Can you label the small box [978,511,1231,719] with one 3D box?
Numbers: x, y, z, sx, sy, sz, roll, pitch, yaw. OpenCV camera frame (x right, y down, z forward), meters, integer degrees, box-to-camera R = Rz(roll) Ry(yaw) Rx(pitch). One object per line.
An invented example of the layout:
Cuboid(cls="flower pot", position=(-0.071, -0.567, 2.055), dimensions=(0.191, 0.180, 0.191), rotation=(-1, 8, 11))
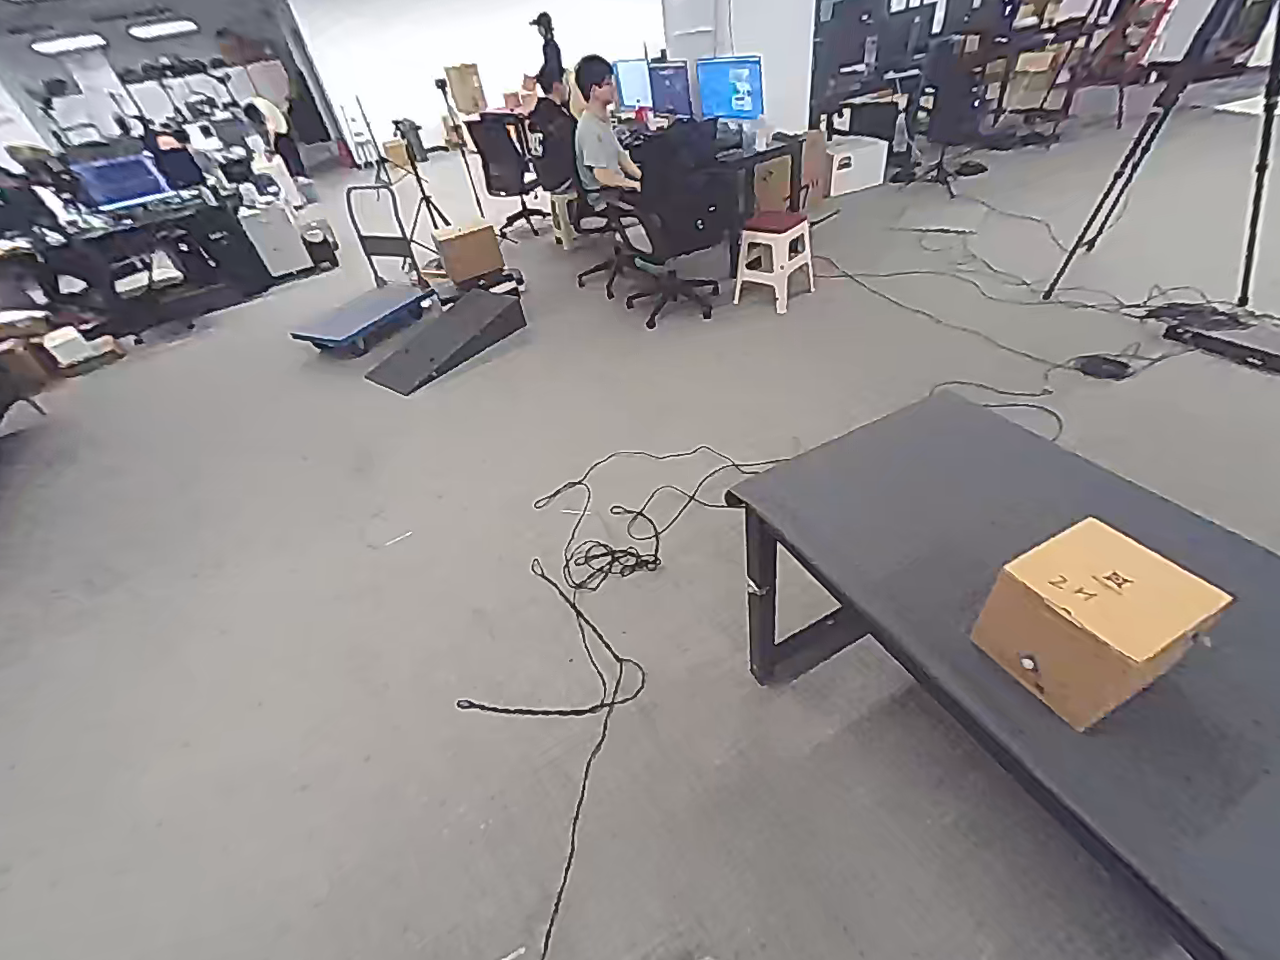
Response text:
Cuboid(cls="small box", position=(0.594, 0.178, 0.720), dimensions=(0.179, 0.176, 0.168), rotation=(-23, 41, -14))
